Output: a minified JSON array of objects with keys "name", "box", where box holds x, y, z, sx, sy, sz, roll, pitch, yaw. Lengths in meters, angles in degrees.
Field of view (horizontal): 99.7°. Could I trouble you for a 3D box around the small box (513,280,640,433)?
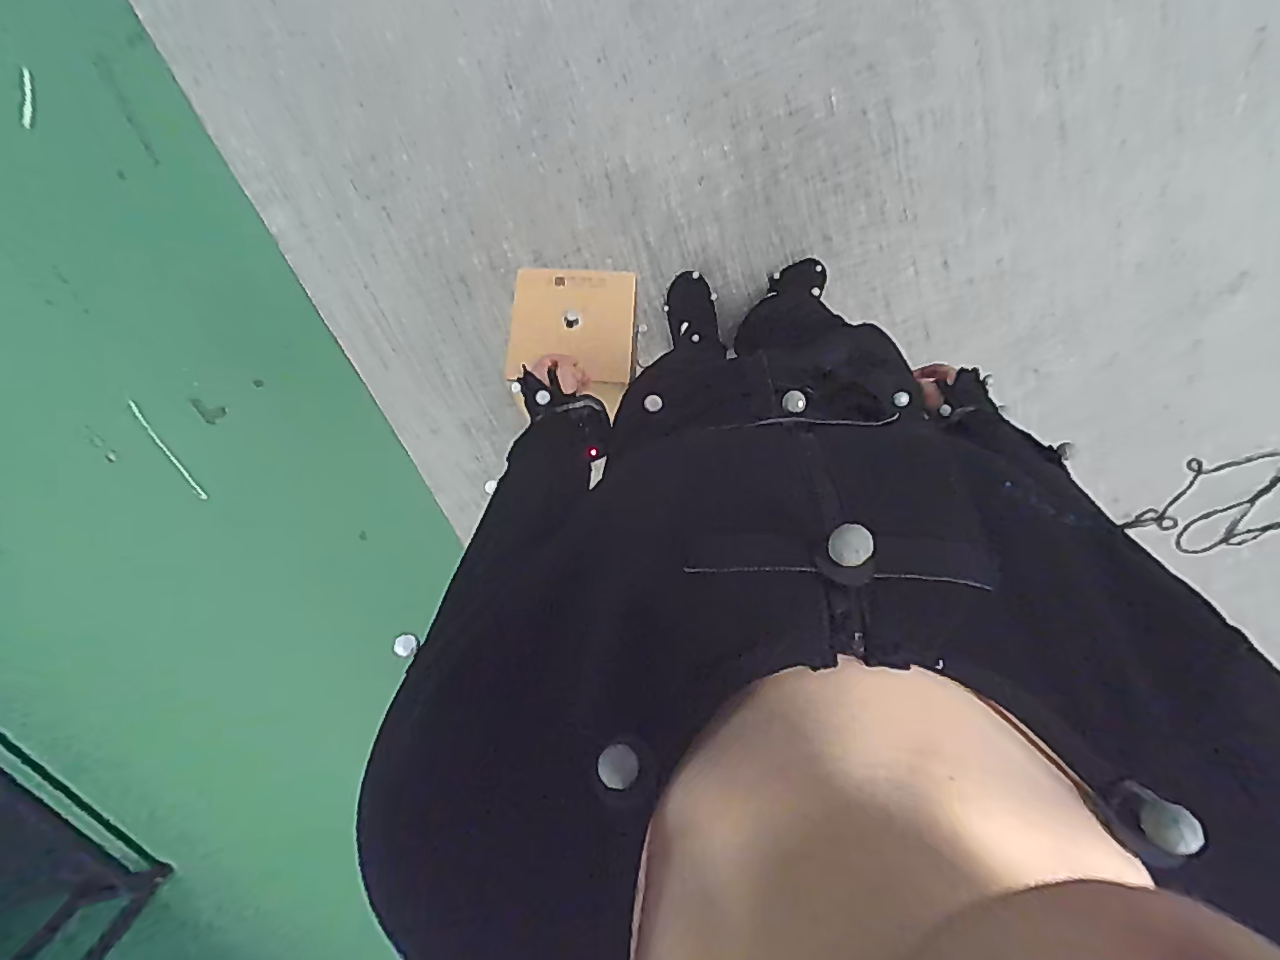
[{"name":"small box","box":[-0.086,-0.178,0.806,0.168,0.179,0.176,1,74,1]}]
